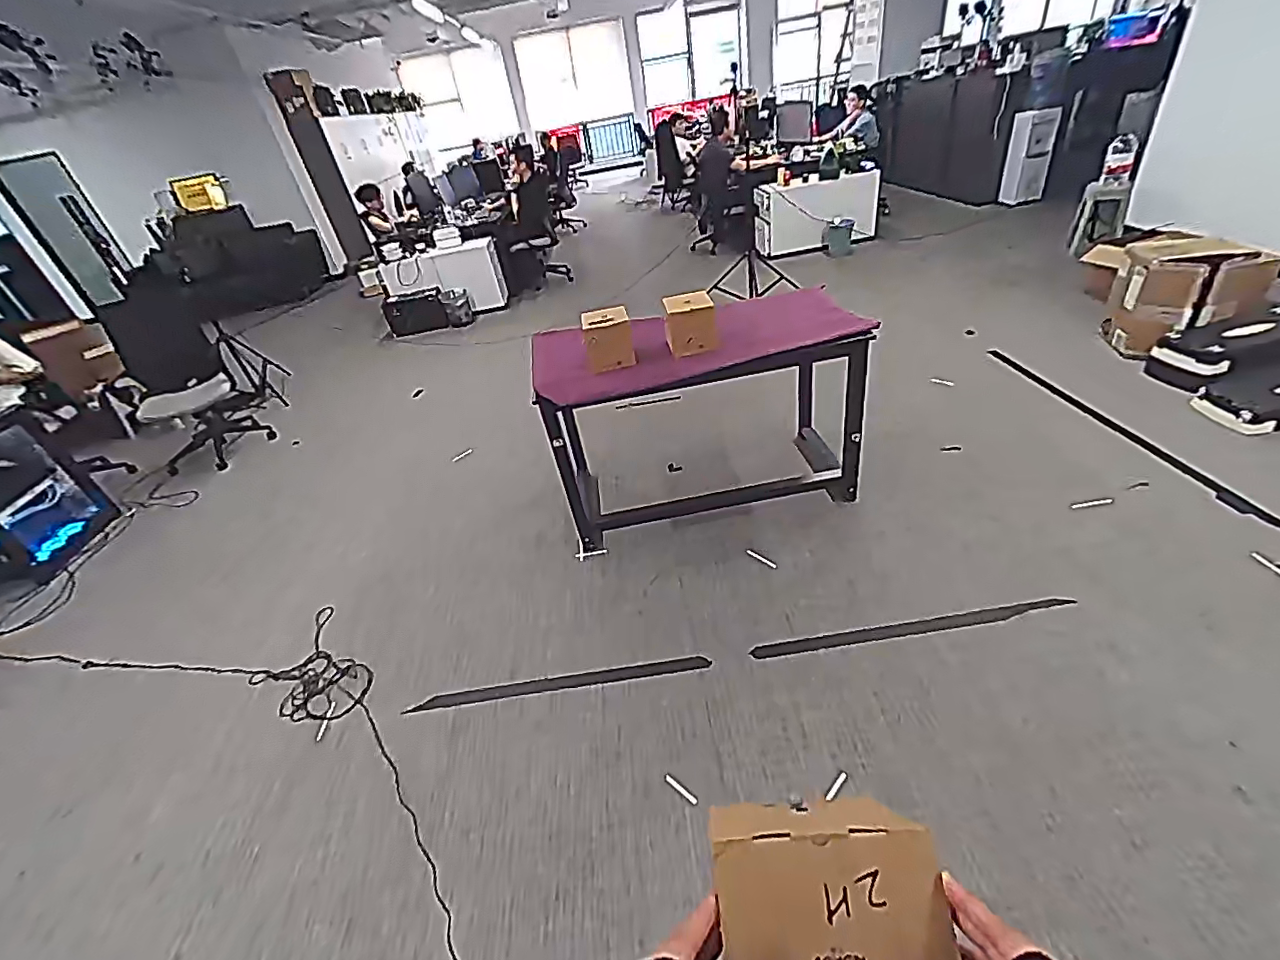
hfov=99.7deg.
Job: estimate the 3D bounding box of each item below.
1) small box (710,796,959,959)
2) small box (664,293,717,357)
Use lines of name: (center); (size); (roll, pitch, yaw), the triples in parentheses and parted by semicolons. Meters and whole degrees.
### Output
small box: (0.150, 0.378, 0.450); (0.168, 0.176, 0.179); (-6, 65, 4)
small box: (0.186, -0.572, 1.999); (0.168, 0.176, 0.179); (-11, 36, 0)
